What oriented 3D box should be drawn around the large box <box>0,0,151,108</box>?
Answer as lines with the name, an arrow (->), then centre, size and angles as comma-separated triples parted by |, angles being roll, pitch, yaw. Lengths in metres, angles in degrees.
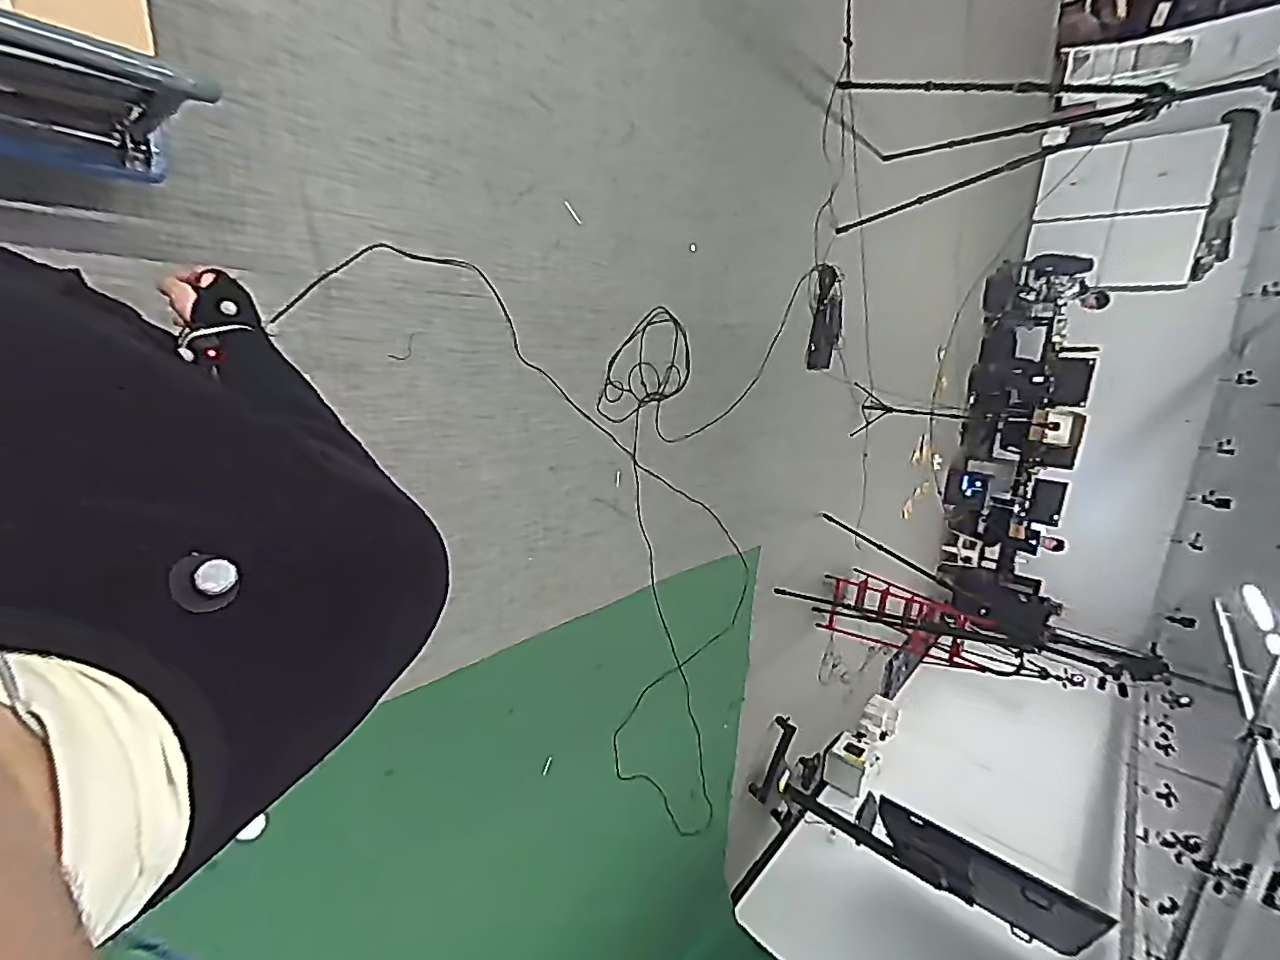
large box -> -0.942, -0.818, 0.748 | 0.320, 0.320, 0.408 | -15, 112, -46
